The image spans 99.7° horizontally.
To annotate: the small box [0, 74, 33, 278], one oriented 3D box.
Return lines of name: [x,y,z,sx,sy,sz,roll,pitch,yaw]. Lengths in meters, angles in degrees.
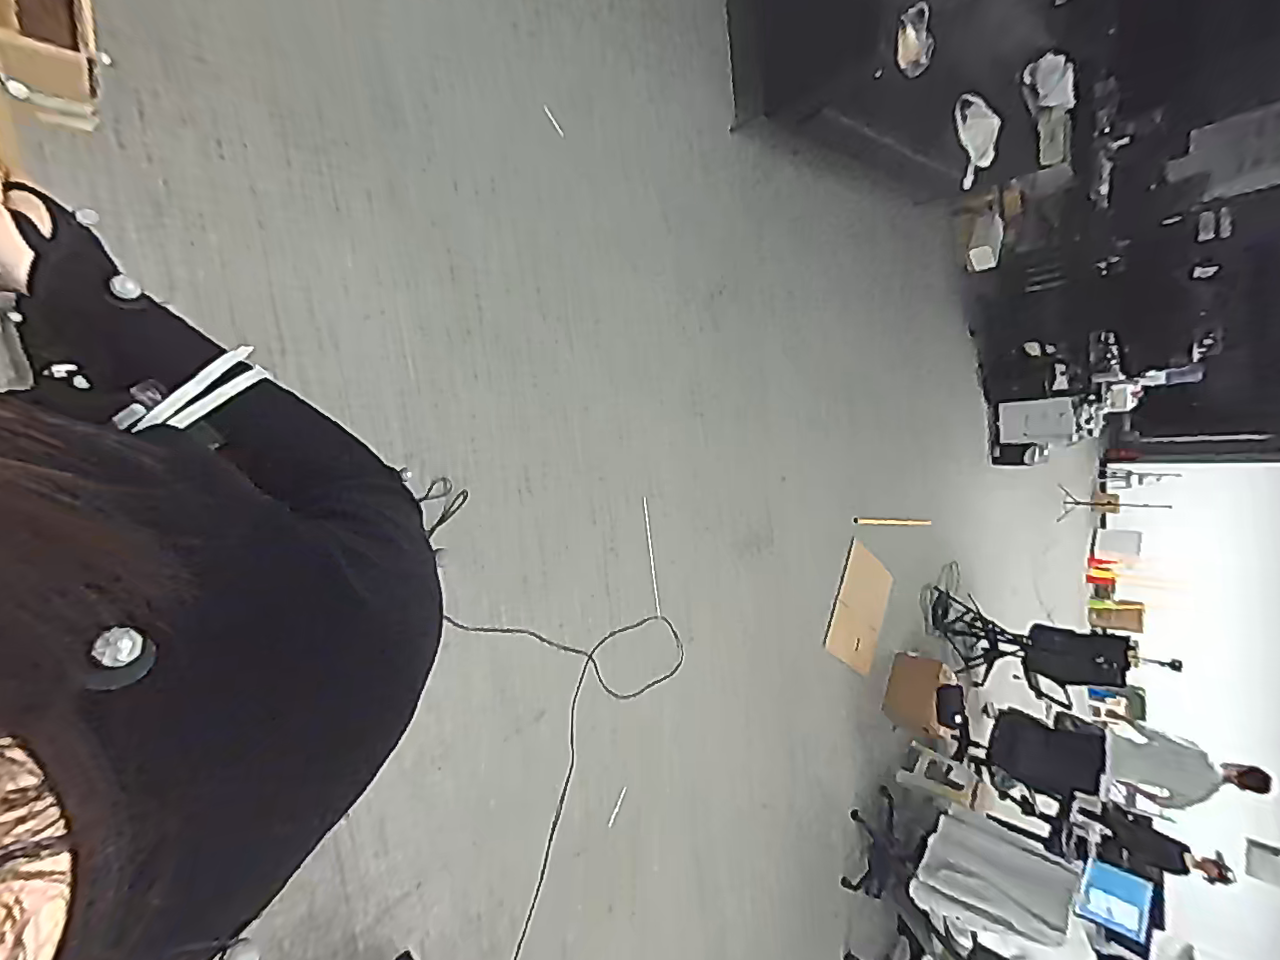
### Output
small box: [-0.525,-0.244,0.339,0.168,0.176,0.179,-9,99,-42]
